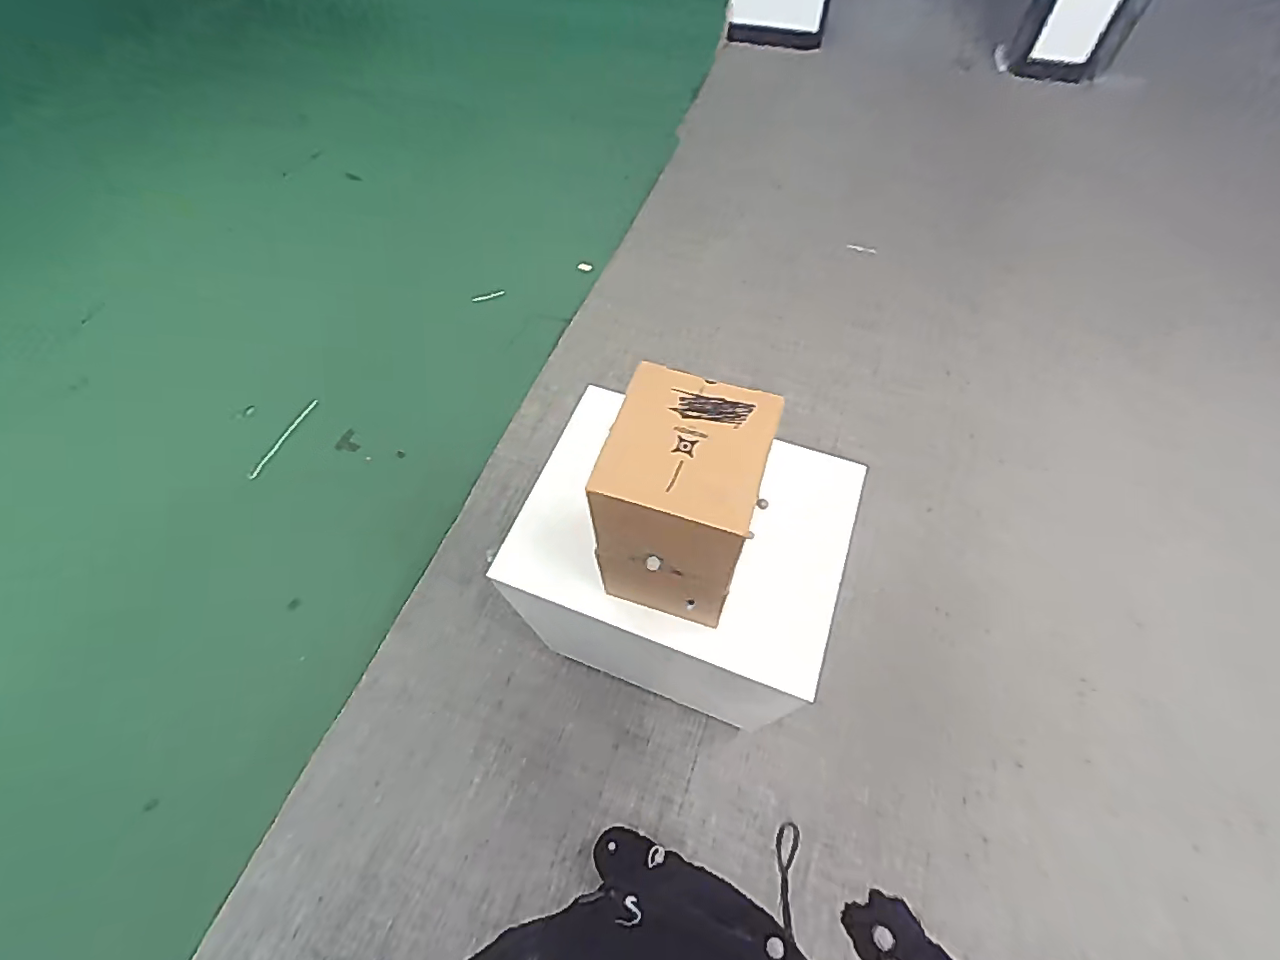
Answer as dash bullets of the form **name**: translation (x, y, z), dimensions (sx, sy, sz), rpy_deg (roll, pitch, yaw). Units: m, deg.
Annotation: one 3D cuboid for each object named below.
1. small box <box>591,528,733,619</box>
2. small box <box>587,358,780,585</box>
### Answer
- **small box**: translation (0.050, 0.081, 0.758), dimensions (0.179, 0.176, 0.168), rpy_deg (14, 62, 12)
- **small box**: translation (0.050, -0.005, 0.617), dimensions (0.168, 0.176, 0.179), rpy_deg (13, 60, 10)
